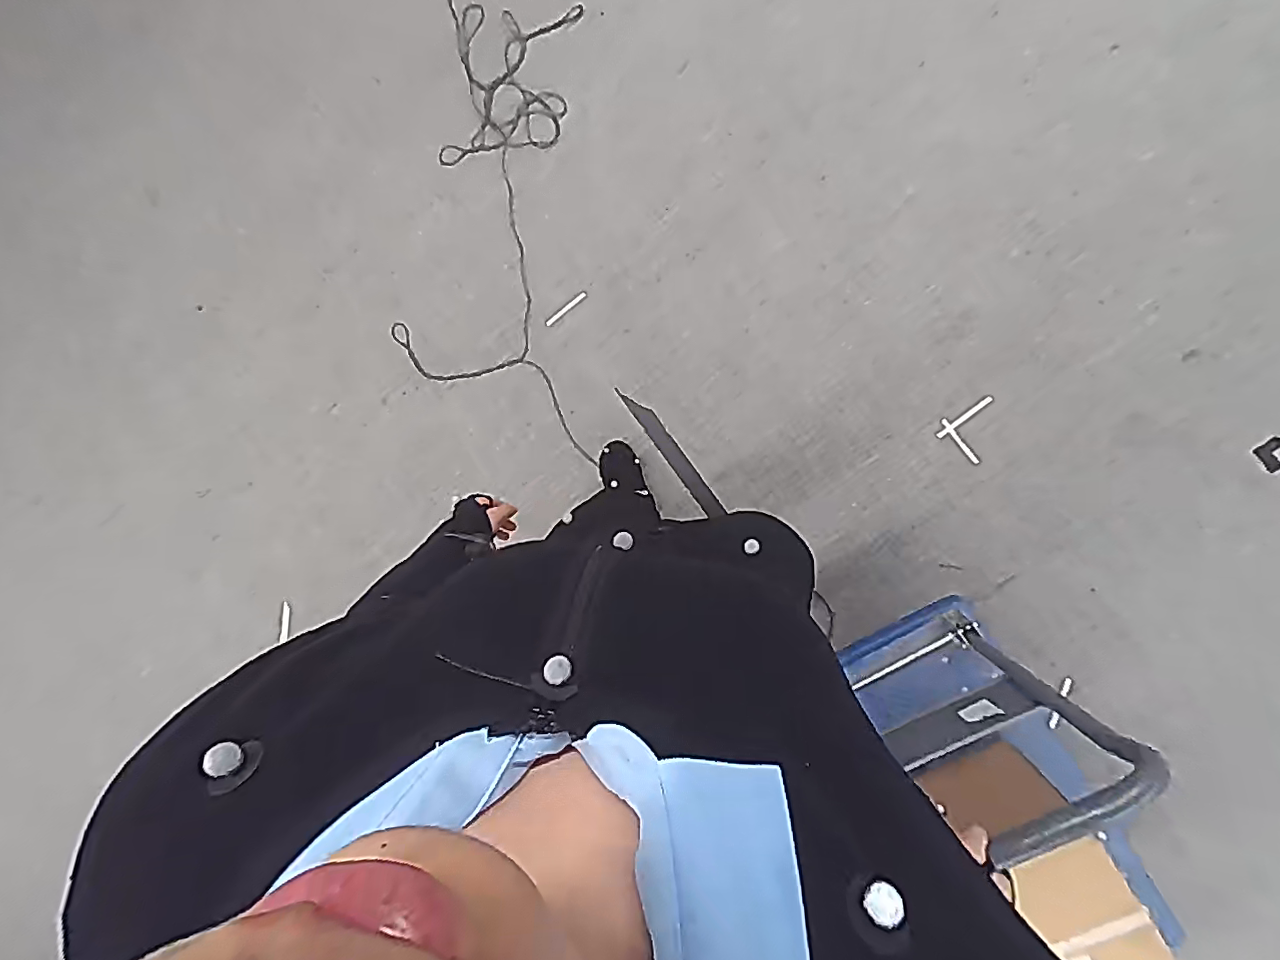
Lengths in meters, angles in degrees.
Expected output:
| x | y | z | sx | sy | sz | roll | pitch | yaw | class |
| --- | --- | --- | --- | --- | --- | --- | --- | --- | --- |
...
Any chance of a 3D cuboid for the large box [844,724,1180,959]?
| x | y | z | sx | sy | sz | roll | pitch | yaw | class |
| --- | --- | --- | --- | --- | --- | --- | --- | --- | --- |
| 0.700 | 0.785 | 1.102 | 0.408 | 0.320 | 0.320 | -32 | 87 | 8 | large box |
